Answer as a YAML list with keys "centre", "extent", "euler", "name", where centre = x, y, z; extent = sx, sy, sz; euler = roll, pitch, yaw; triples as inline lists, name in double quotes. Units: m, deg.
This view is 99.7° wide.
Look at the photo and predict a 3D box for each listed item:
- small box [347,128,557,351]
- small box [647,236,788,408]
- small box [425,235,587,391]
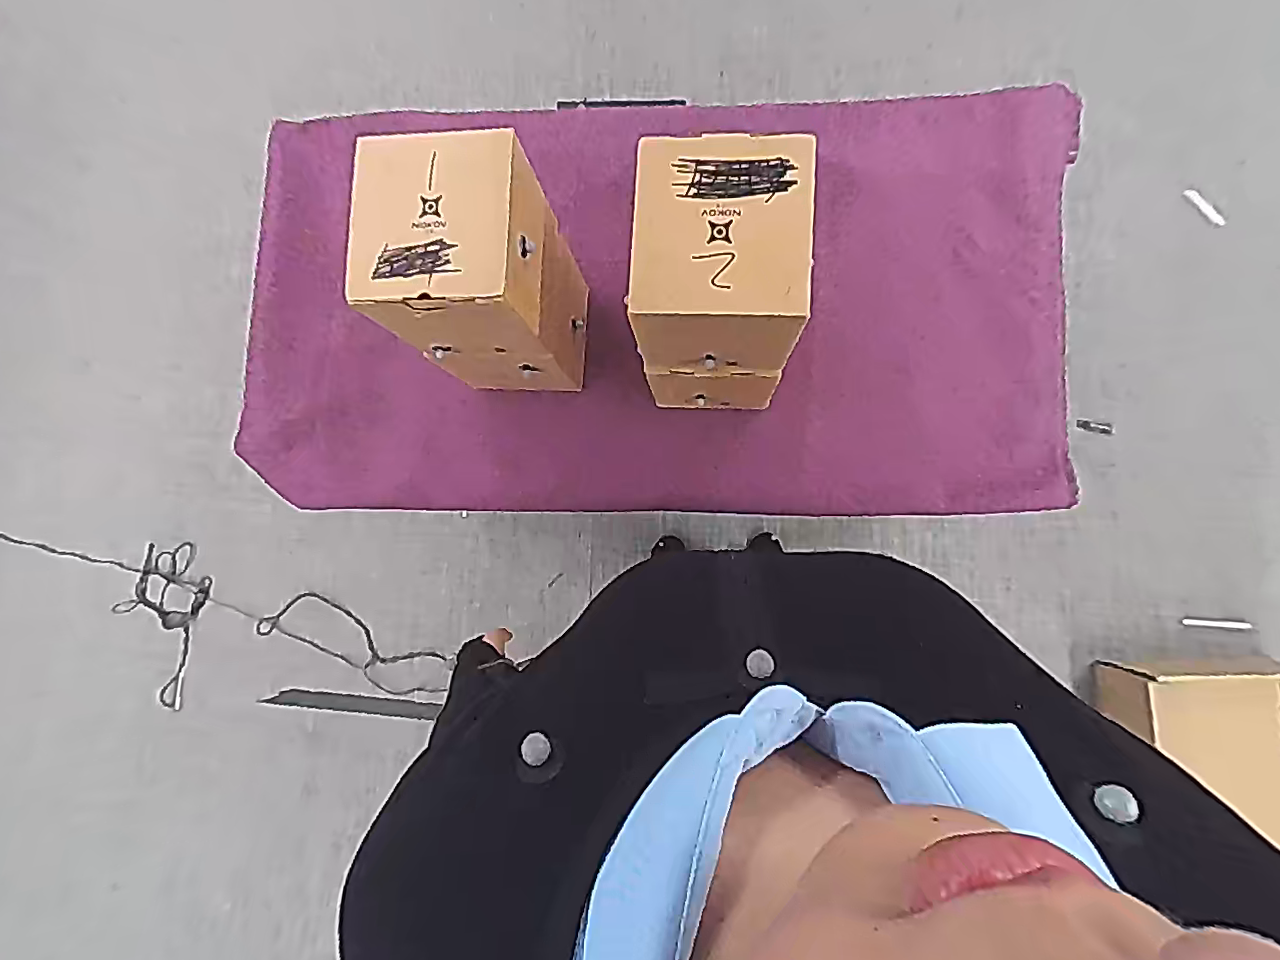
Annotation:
- centre: [-0.195, -0.250, 0.607]
  extent: [0.168, 0.176, 0.179]
  euler: [1, 84, 6]
  name: "small box"
- centre: [0.103, -0.205, 0.734]
  extent: [0.168, 0.176, 0.179]
  euler: [2, 85, 7]
  name: "small box"
- centre: [-0.177, -0.229, 0.768]
  extent: [0.179, 0.176, 0.168]
  euler: [3, 85, 7]
  name: "small box"
